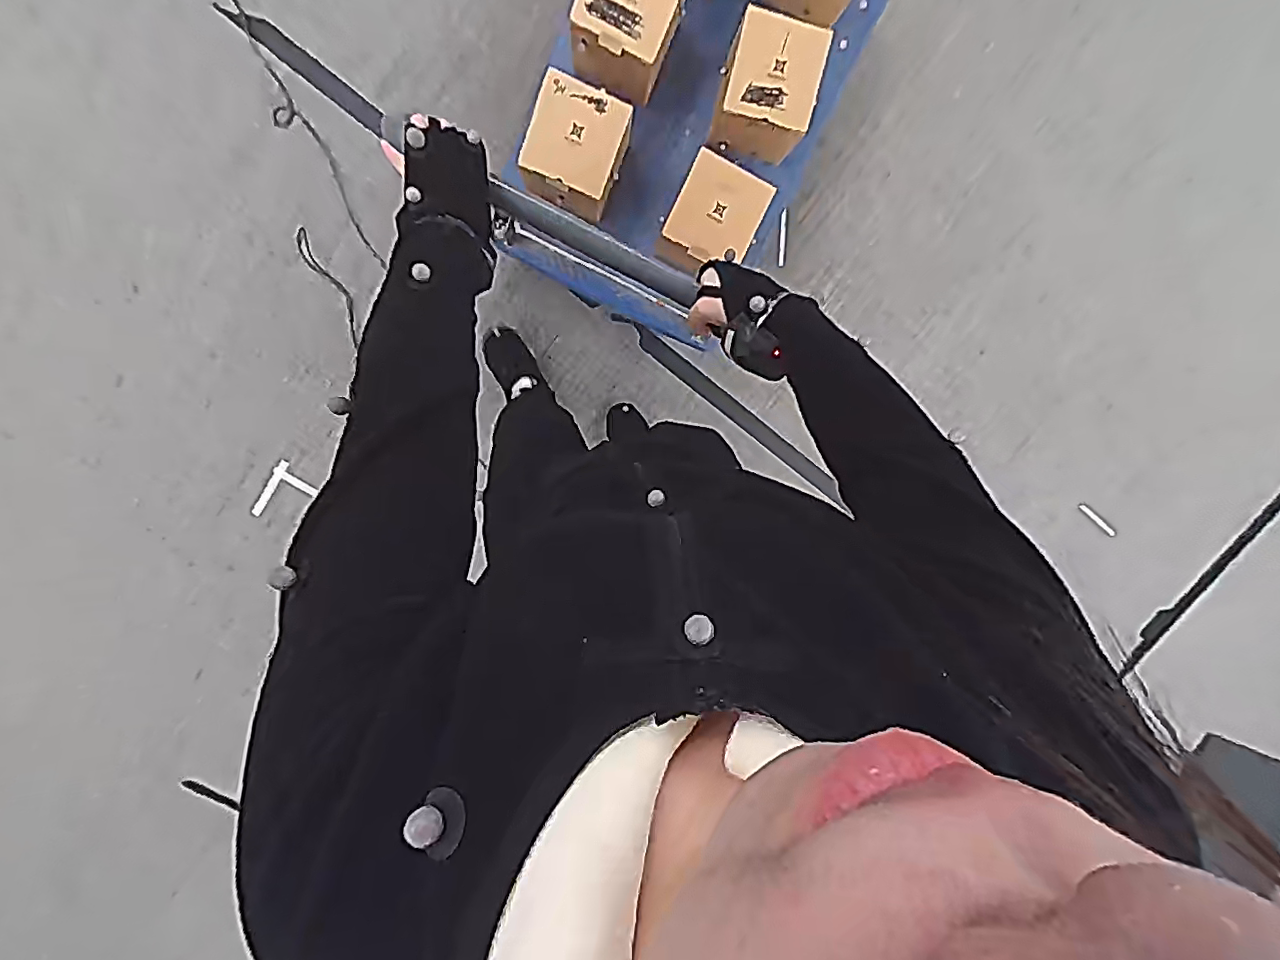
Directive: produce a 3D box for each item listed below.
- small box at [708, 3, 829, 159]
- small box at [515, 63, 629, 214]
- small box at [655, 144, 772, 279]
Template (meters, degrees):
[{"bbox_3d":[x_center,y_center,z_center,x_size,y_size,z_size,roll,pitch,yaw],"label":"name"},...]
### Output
[{"bbox_3d":[0.241,-0.770,1.068,0.168,0.176,0.179,13,101,-7],"label":"small box"},{"bbox_3d":[-0.129,-0.655,1.067,0.168,0.176,0.179,21,101,-10],"label":"small box"},{"bbox_3d":[0.141,-0.537,1.116,0.168,0.176,0.179,25,99,-10],"label":"small box"}]
